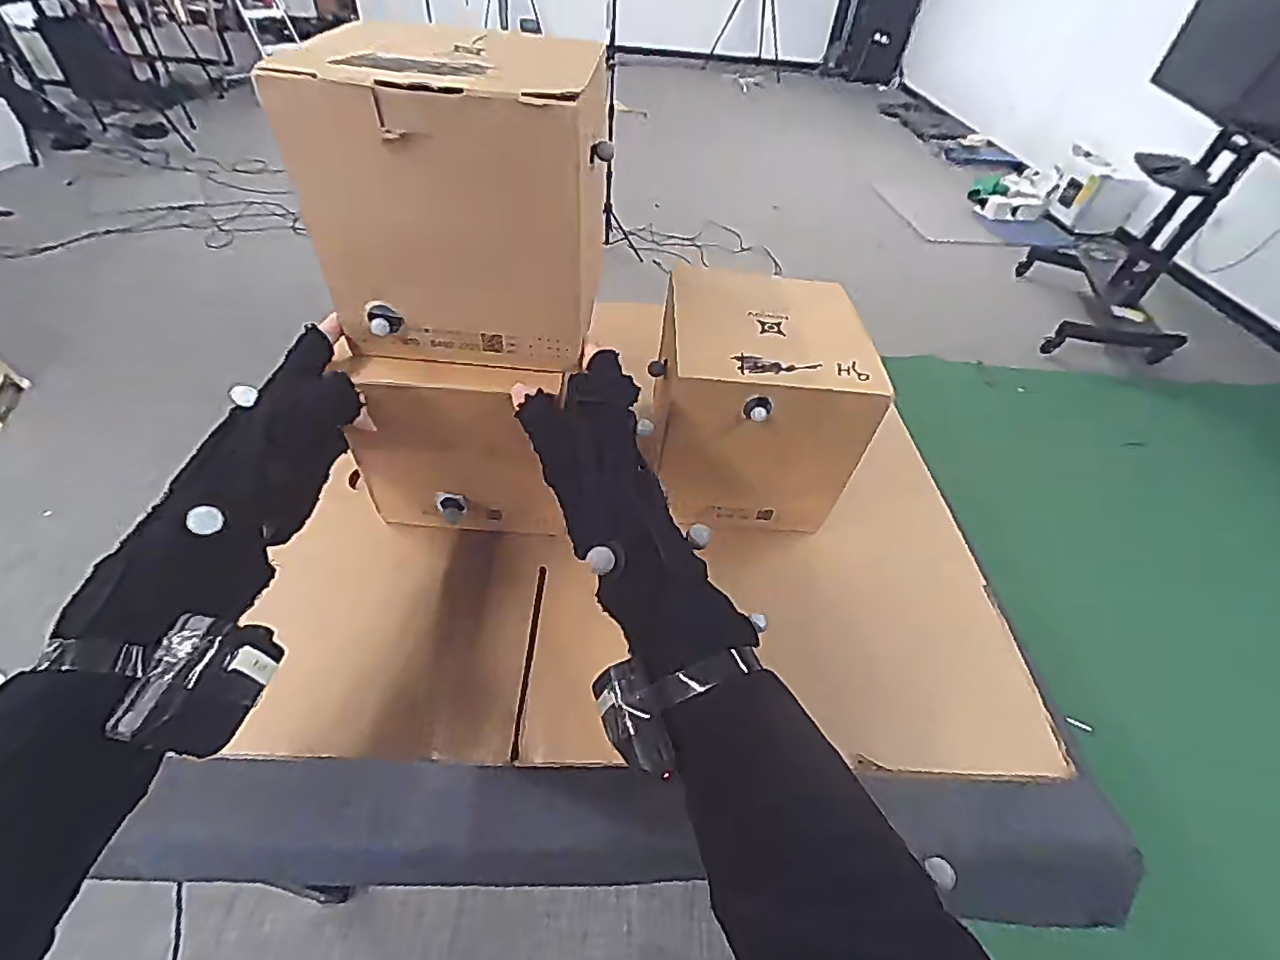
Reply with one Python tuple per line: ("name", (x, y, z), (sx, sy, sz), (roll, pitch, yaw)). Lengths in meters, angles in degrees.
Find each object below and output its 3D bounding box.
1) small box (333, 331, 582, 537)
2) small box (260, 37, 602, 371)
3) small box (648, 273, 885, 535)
("small box", (-0.142, -0.069, 0.498), (0.168, 0.176, 0.179), (3, 48, -3))
("small box", (-0.118, -0.198, 0.395), (0.168, 0.176, 0.179), (5, 46, -1))
("small box", (0.098, -0.072, 0.517), (0.168, 0.176, 0.179), (5, 46, -3))
